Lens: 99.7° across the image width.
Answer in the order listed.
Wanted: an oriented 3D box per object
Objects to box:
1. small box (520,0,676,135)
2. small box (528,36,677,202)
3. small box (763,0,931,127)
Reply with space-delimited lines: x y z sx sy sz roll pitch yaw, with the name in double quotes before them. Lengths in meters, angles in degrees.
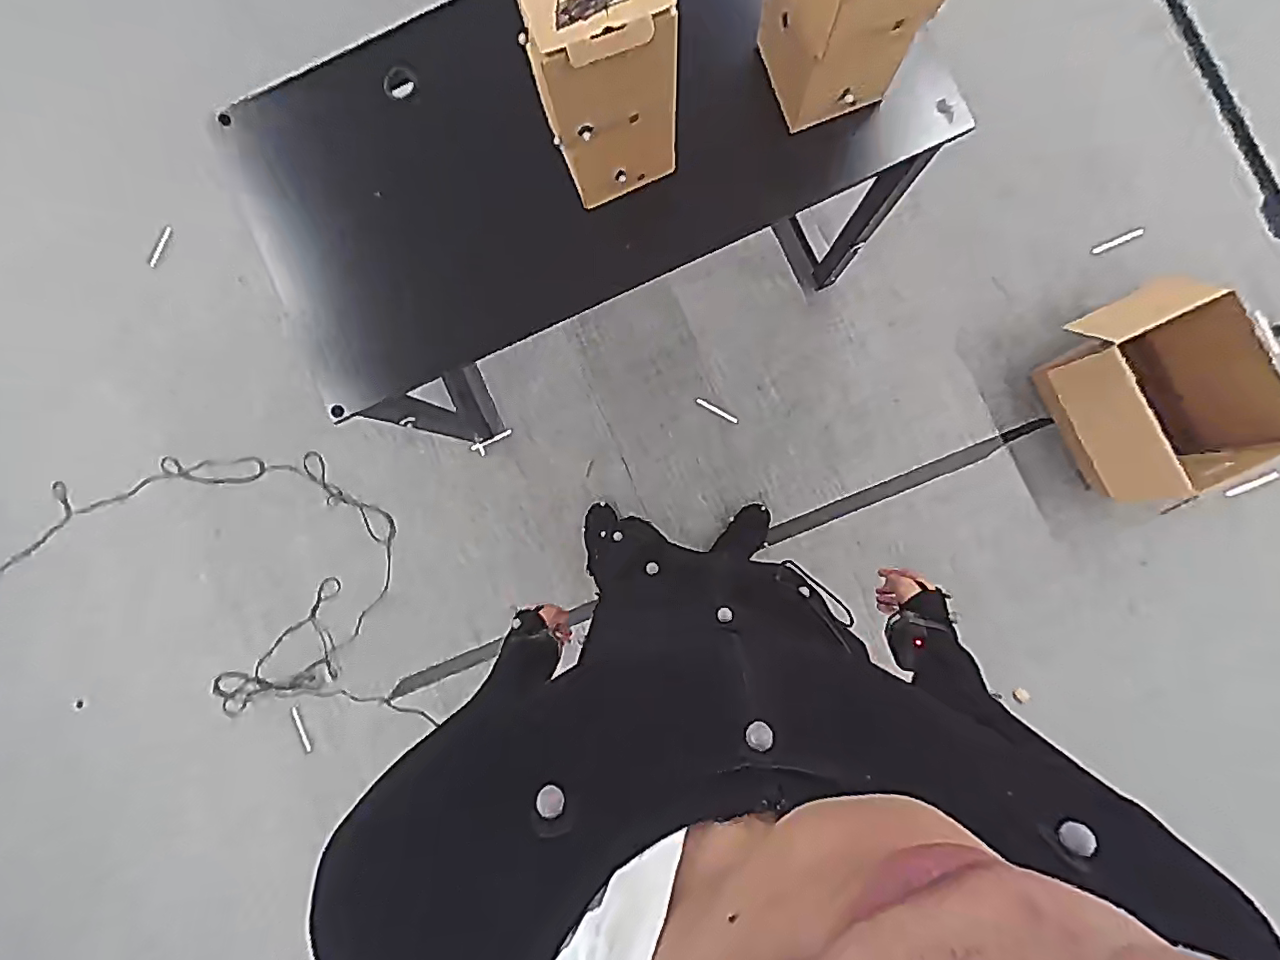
"small box" -0.056 -0.575 0.681 0.168 0.176 0.179 -18 88 2
"small box" -0.052 -0.581 0.845 0.168 0.176 0.179 -23 88 3
"small box" 0.300 -0.694 0.825 0.168 0.176 0.179 -19 88 4
